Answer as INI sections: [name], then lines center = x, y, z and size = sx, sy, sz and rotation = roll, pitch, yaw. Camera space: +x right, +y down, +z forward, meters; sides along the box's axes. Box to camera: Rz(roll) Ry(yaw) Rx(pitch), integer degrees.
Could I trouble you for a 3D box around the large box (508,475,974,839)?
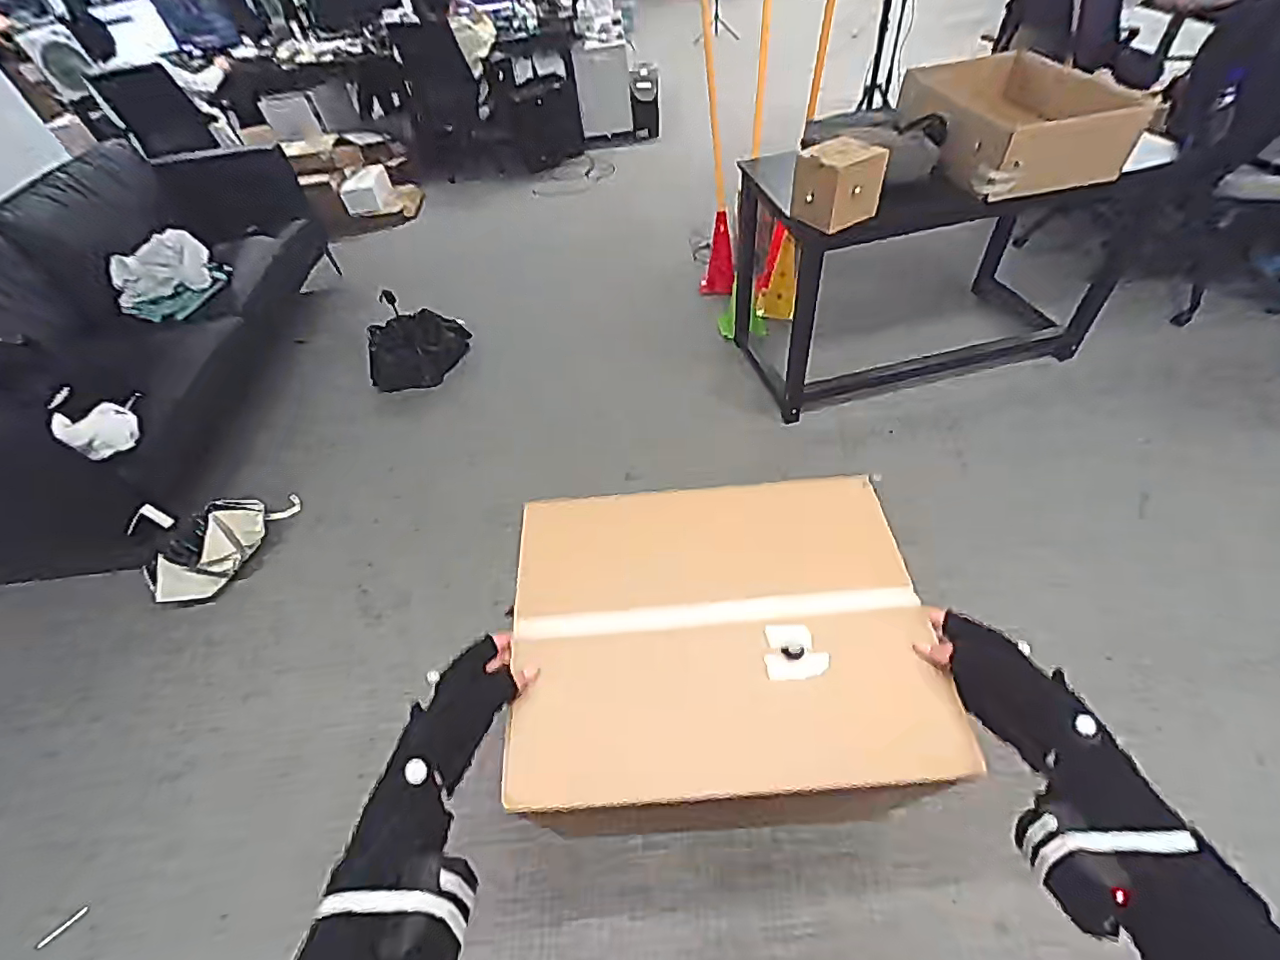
[large box]
center = 0.081, 0.223, 0.657
size = 0.408, 0.320, 0.320
rotation = -5, 53, 0
